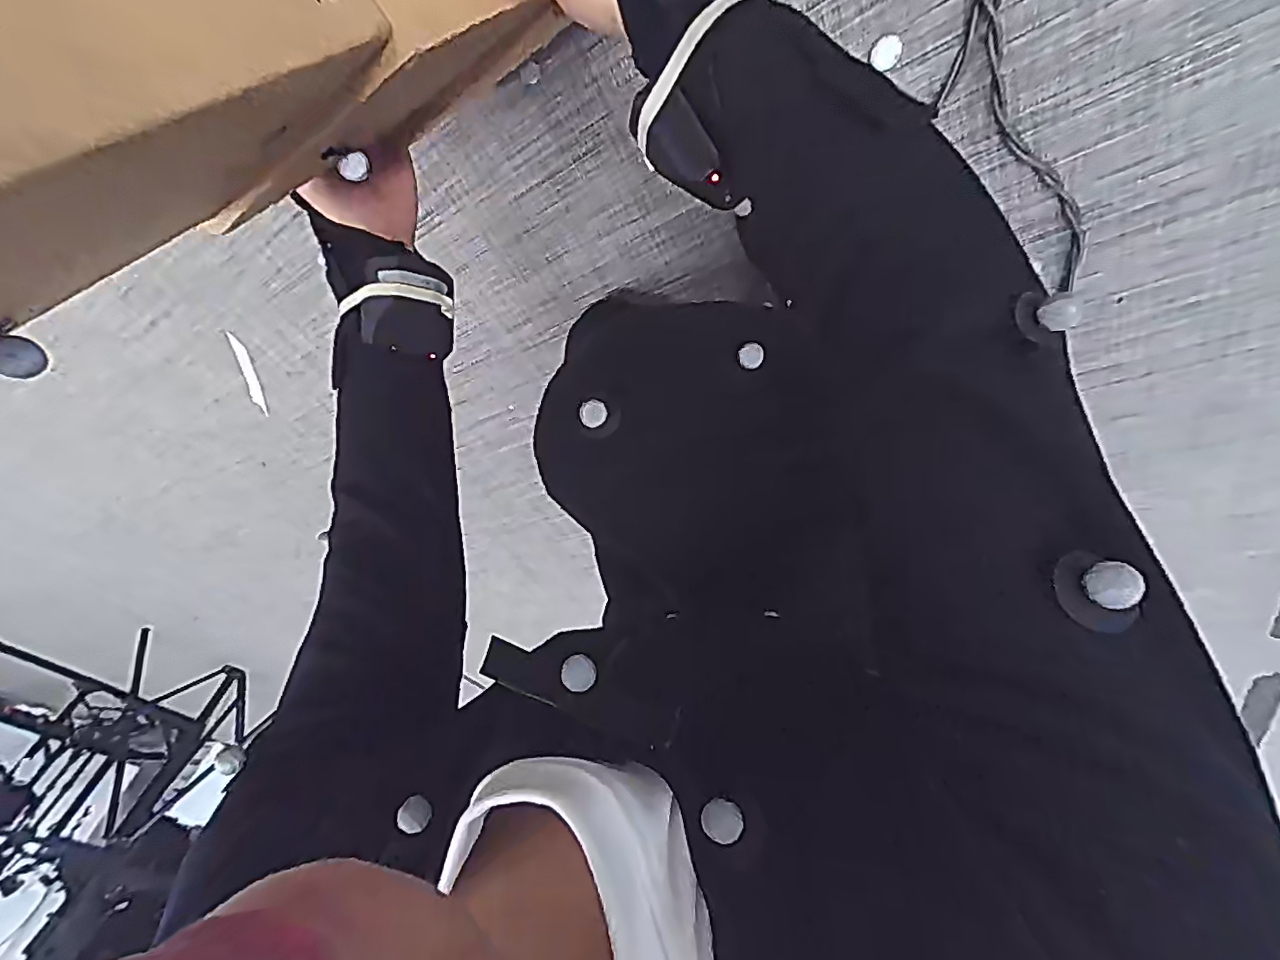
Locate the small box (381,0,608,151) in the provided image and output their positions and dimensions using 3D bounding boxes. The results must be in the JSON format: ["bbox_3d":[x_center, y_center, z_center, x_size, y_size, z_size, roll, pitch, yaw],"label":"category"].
[{"bbox_3d":[-0.136,-0.371,0.362,0.168,0.176,0.179,-12,133,31],"label":"small box"}]

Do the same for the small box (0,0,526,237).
[{"bbox_3d":[-0.175,-0.257,0.252,0.179,0.176,0.168,-12,133,32],"label":"small box"}]
